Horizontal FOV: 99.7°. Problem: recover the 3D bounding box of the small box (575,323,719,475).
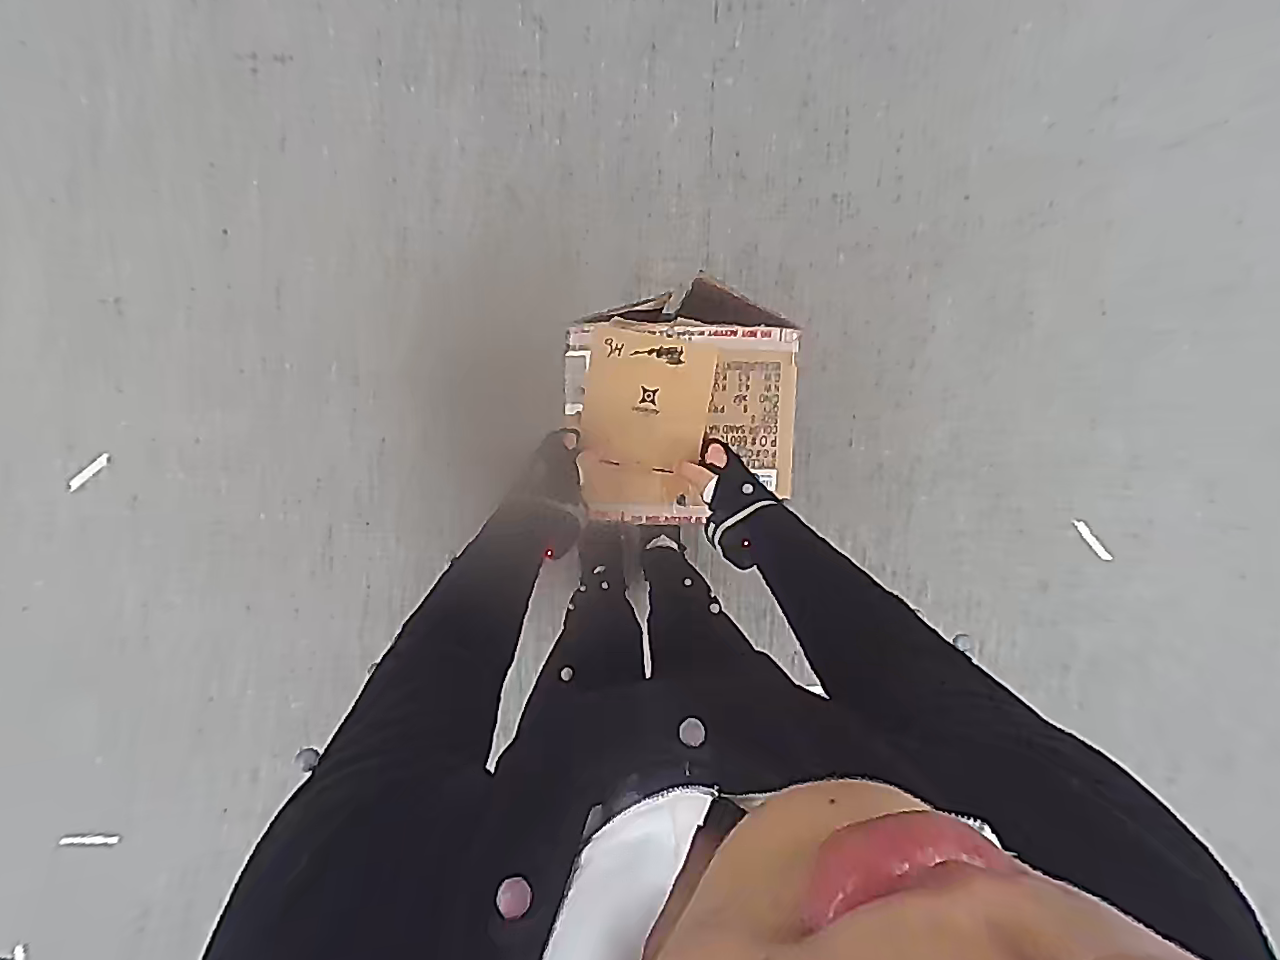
[{"bbox_3d":[0.003,-0.117,0.781,0.168,0.176,0.179,8,99,-7],"label":"small box"}]
